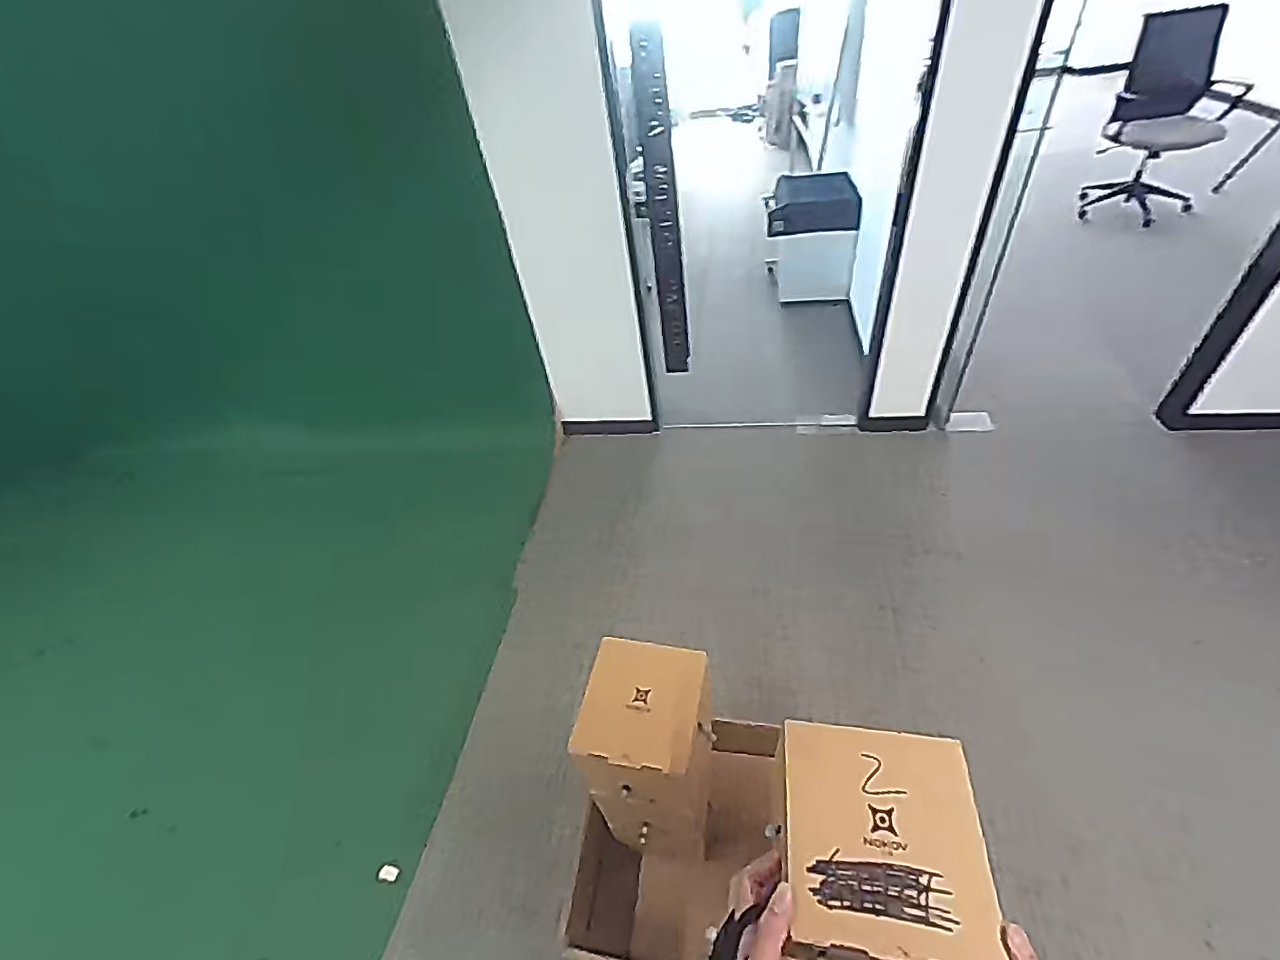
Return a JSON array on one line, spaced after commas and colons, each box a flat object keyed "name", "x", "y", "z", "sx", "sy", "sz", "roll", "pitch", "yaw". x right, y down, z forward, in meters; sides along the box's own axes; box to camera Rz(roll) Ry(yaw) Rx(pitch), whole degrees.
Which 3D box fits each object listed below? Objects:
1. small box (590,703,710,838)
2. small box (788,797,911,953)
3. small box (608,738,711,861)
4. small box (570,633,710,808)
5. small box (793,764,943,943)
[{"name": "small box", "x": 0.029, "y": 0.480, "z": 0.931, "sx": 0.168, "sy": 0.176, "sz": 0.179, "roll": 4, "pitch": 45, "yaw": 15}, {"name": "small box", "x": 0.342, "y": 0.668, "z": 0.914, "sx": 0.168, "sy": 0.176, "sz": 0.179, "roll": 1, "pitch": 43, "yaw": 11}, {"name": "small box", "x": 0.046, "y": 0.599, "z": 1.042, "sx": 0.168, "sy": 0.176, "sz": 0.179, "roll": 3, "pitch": 44, "yaw": 13}, {"name": "small box", "x": 0.012, "y": 0.363, "z": 0.820, "sx": 0.168, "sy": 0.176, "sz": 0.179, "roll": 5, "pitch": 46, "yaw": 15}, {"name": "small box", "x": 0.320, "y": 0.552, "z": 0.802, "sx": 0.168, "sy": 0.176, "sz": 0.179, "roll": 0, "pitch": 44, "yaw": 11}]
